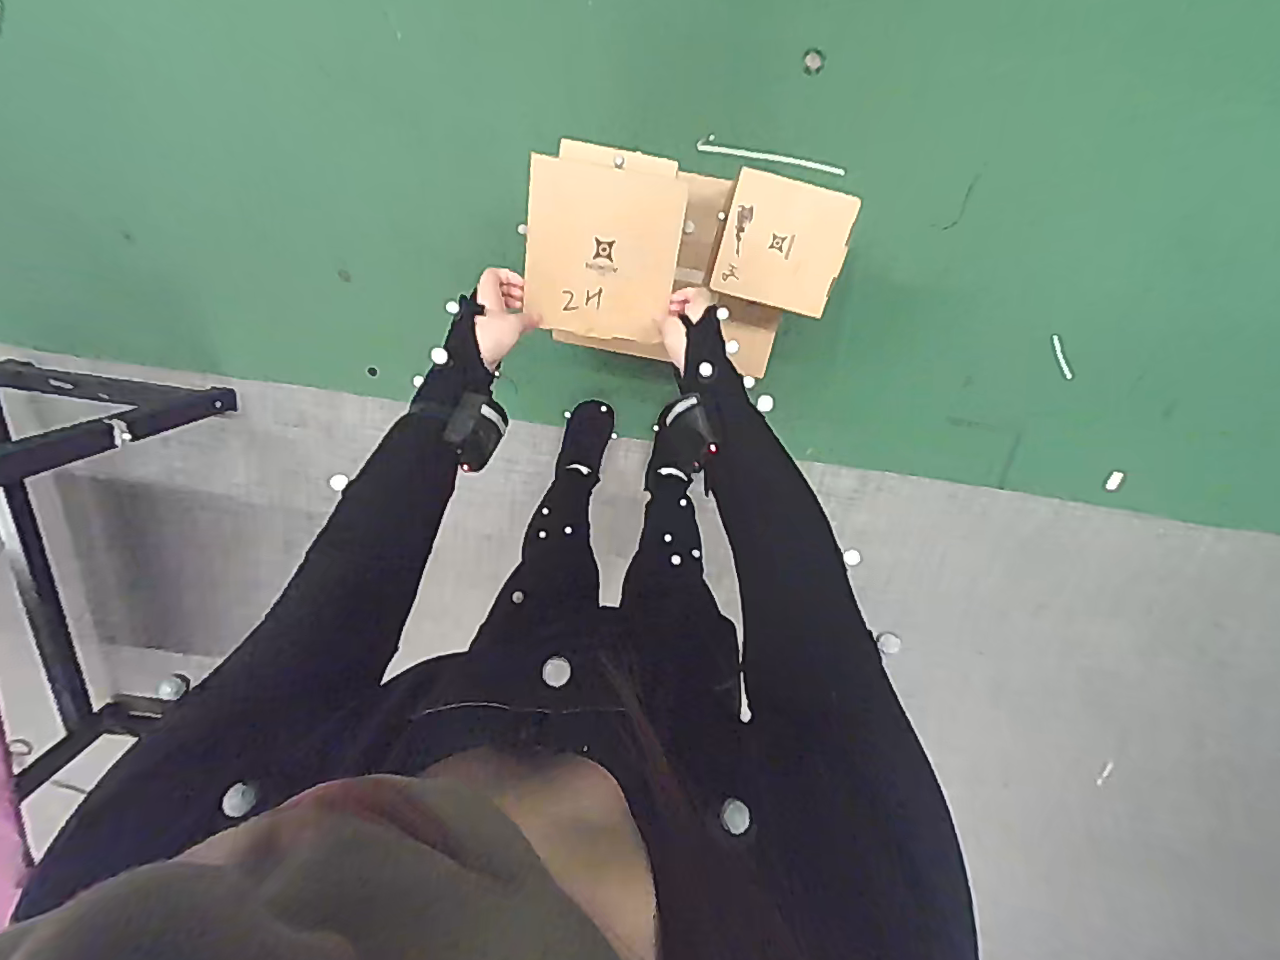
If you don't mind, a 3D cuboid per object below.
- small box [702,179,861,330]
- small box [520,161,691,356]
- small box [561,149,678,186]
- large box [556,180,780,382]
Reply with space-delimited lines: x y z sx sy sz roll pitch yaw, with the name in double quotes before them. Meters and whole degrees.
"small box" 0.205 -0.344 0.841 0.179 0.176 0.168 15 109 -3
"small box" -0.045 -0.267 0.650 0.168 0.176 0.179 7 118 -6
"small box" -0.041 -0.382 0.839 0.168 0.176 0.179 10 110 -2
"large box" 0.064 -0.402 1.087 0.408 0.320 0.320 10 111 -2
